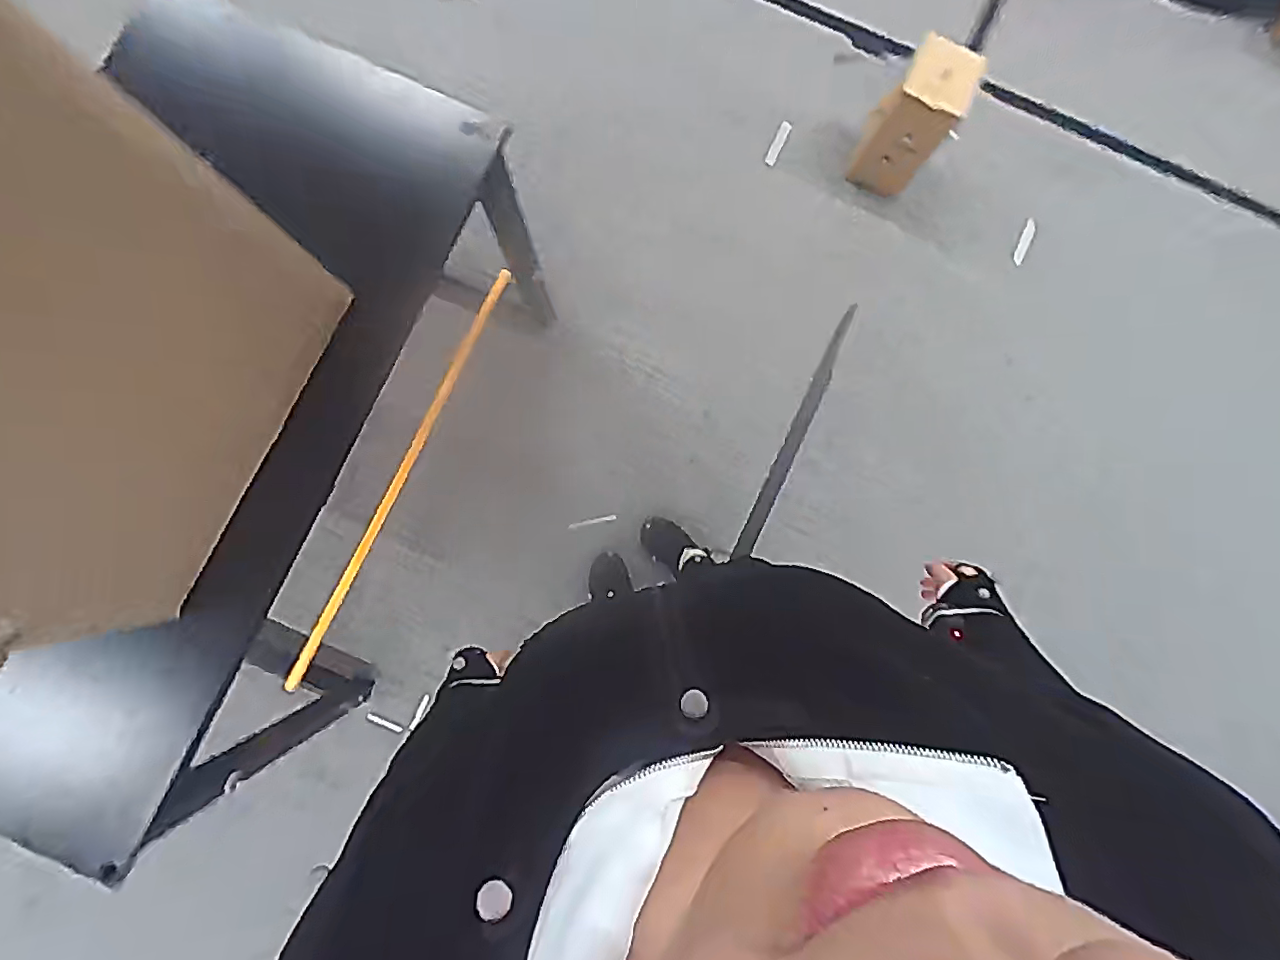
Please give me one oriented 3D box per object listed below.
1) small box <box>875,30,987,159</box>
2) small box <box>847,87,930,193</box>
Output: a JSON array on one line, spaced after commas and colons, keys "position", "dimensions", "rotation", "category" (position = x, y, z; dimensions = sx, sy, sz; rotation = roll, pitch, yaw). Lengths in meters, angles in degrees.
[{"position": [0.734, -0.978, 1.384], "dimensions": [0.168, 0.176, 0.179], "rotation": [25, 85, 0], "category": "small box"}, {"position": [0.724, -0.964, 1.548], "dimensions": [0.179, 0.176, 0.168], "rotation": [21, 85, -1], "category": "small box"}]
